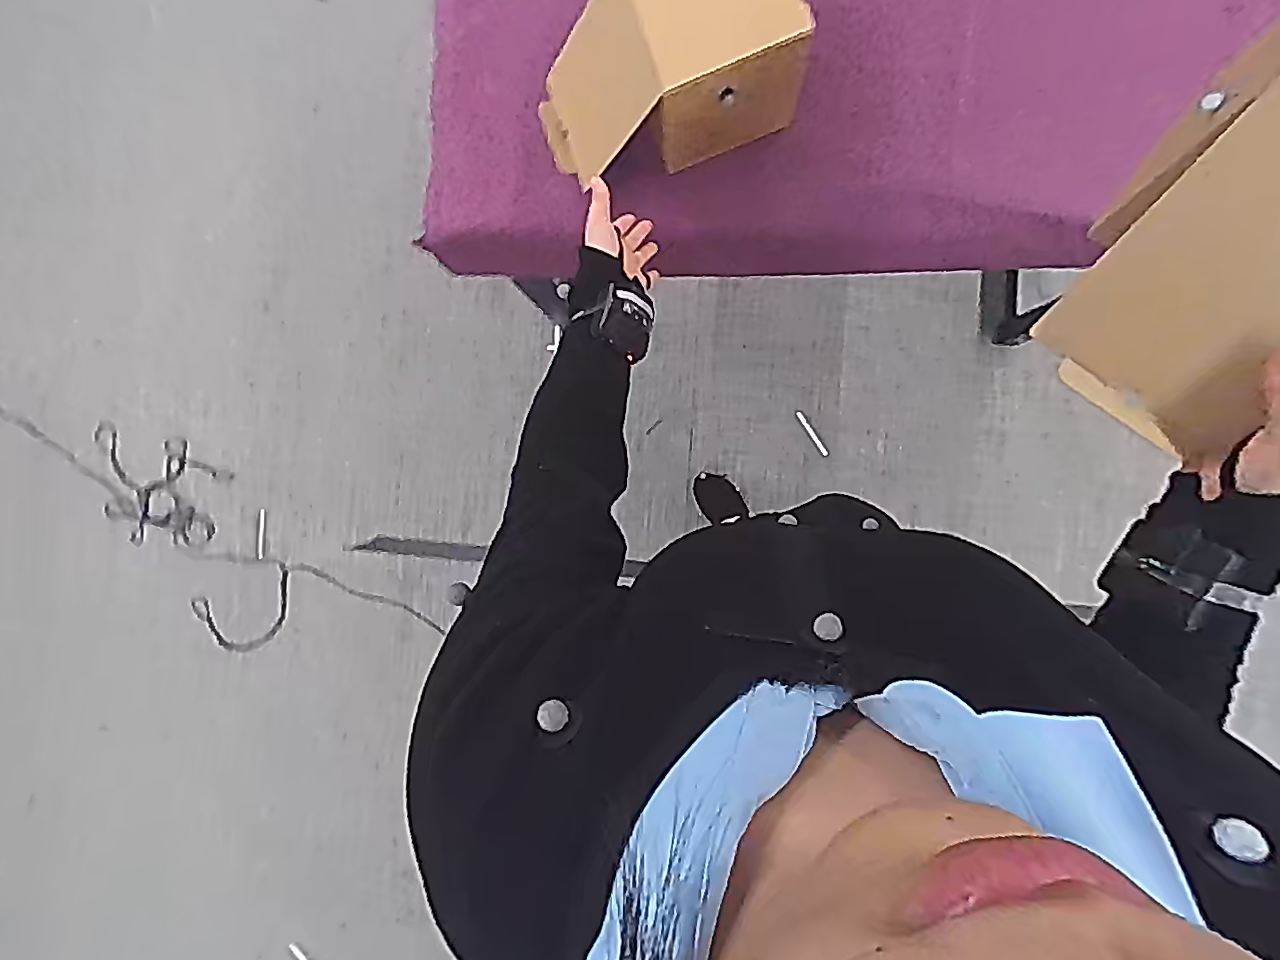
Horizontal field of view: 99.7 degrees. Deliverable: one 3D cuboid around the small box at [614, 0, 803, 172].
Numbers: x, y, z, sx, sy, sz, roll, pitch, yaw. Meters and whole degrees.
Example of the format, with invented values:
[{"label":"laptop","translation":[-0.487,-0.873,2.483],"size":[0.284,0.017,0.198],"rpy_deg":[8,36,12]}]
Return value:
[{"label":"small box","translation":[0.079,-0.523,0.669],"size":[0.179,0.176,0.168],"rpy_deg":[-20,89,5]}]
